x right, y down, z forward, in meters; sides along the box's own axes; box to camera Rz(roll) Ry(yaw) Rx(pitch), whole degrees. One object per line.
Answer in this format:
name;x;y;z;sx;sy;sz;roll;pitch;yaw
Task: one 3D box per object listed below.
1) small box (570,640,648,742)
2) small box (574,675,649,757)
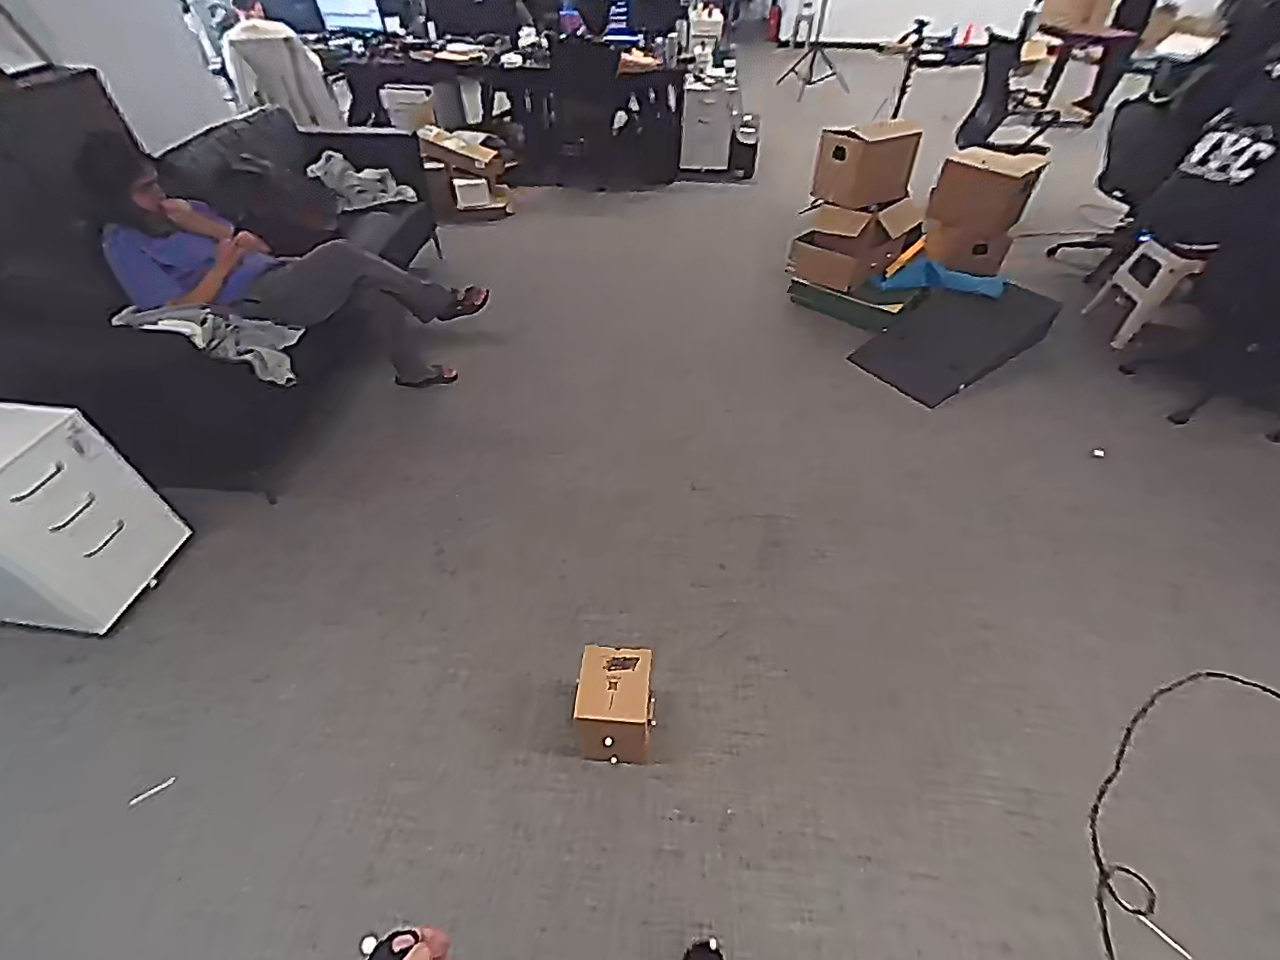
small box;-0.071;0.515;1.321;0.168;0.176;0.179;3;47;3
small box;-0.073;0.624;1.446;0.179;0.176;0.168;5;46;3
